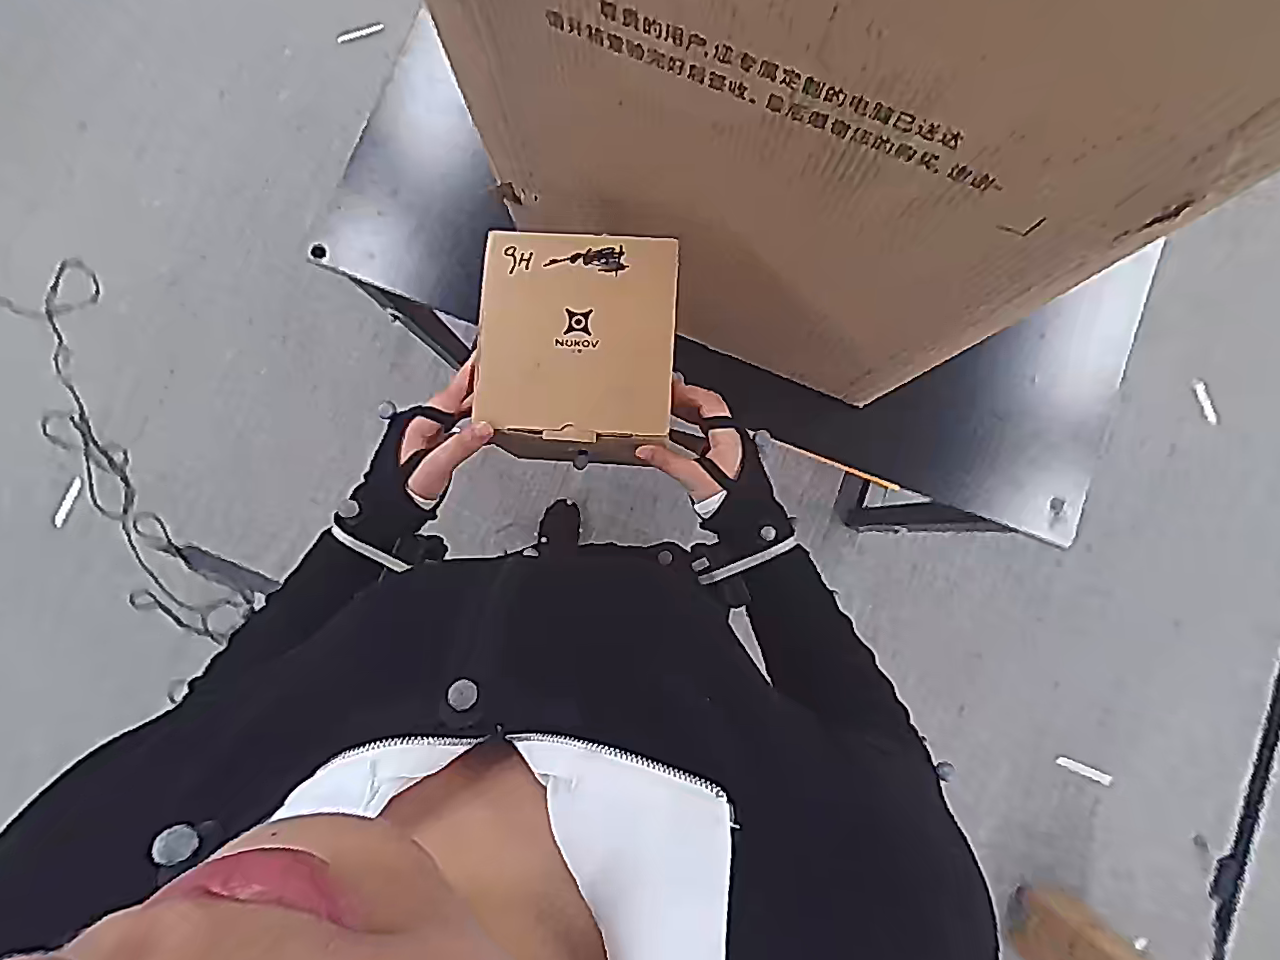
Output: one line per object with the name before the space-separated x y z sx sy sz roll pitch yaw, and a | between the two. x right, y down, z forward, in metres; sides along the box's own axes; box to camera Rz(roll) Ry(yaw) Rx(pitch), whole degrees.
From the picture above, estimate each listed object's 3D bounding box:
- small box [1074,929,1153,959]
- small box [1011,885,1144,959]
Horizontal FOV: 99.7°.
small box | 1.070 1.135 1.168 0.168 0.176 0.179 21 85 2
small box | 1.069 1.150 1.332 0.179 0.176 0.168 16 84 3
